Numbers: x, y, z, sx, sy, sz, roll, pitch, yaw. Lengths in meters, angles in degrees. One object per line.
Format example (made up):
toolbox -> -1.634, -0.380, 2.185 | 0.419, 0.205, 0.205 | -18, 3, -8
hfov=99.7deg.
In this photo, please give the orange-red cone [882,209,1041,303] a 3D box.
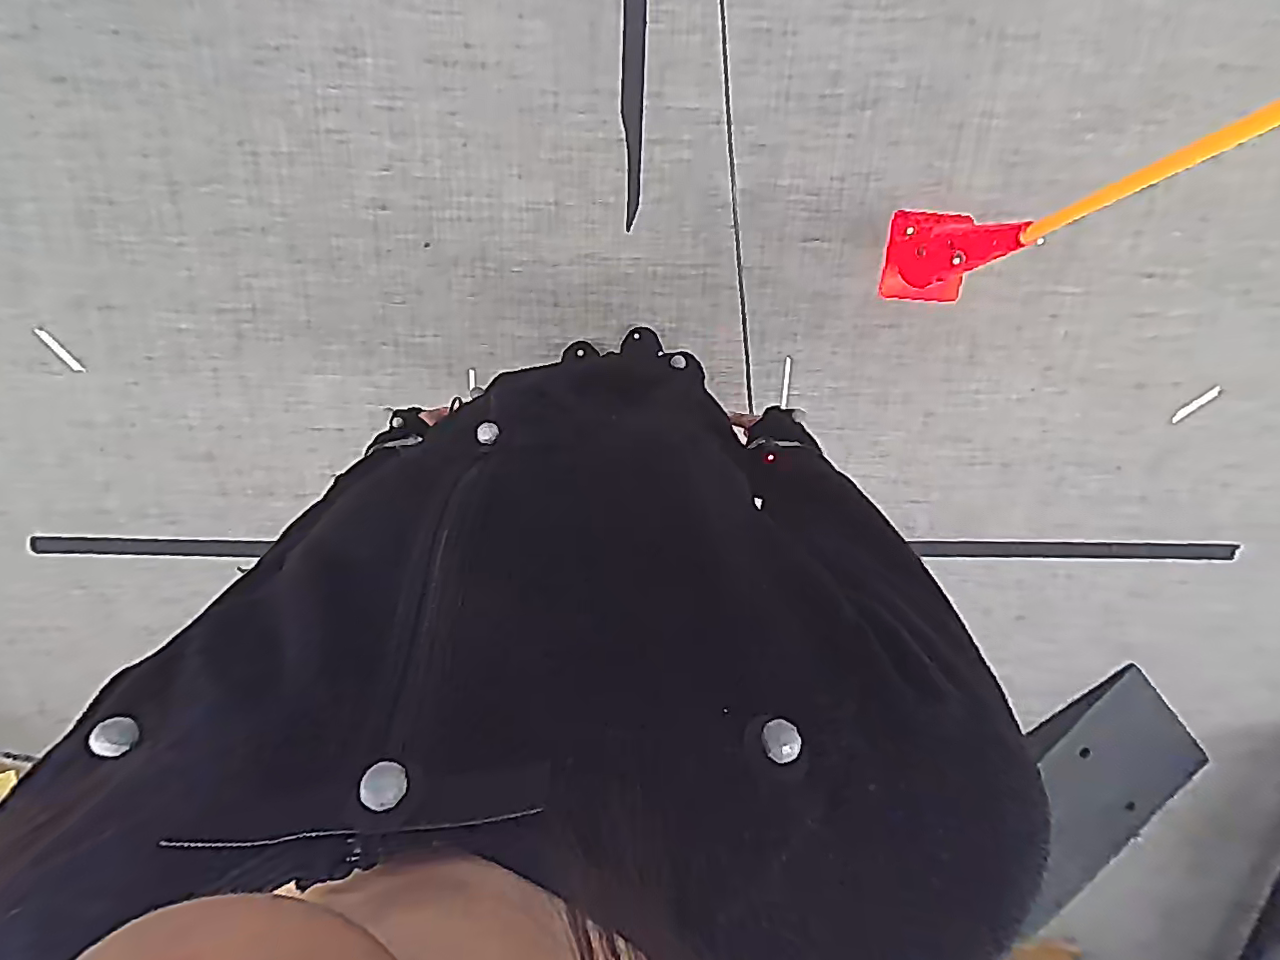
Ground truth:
orange-red cone -> 0.690, -0.484, 1.123 | 0.198, 0.360, 0.199 | 5, 106, -2
